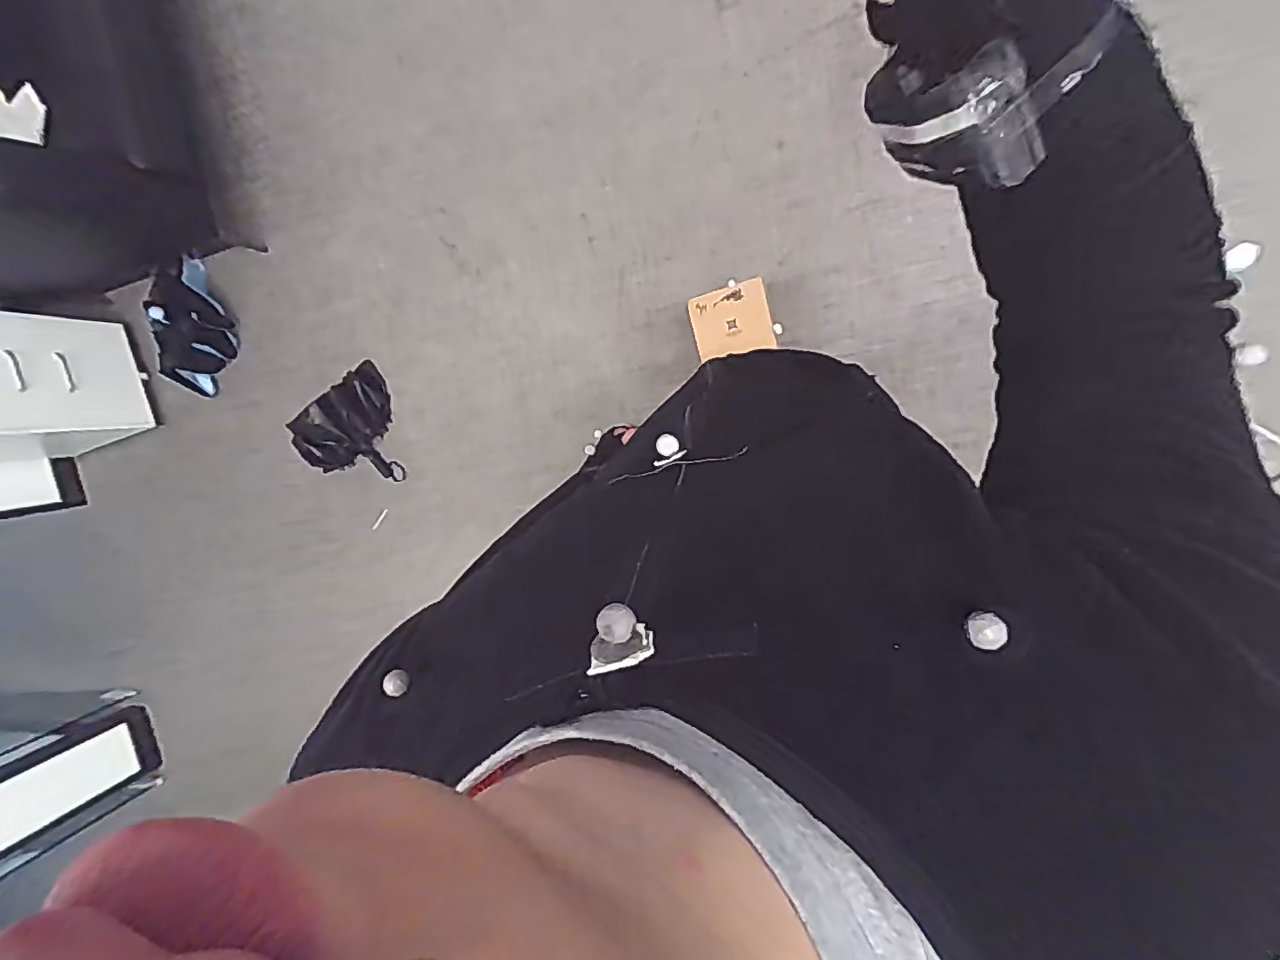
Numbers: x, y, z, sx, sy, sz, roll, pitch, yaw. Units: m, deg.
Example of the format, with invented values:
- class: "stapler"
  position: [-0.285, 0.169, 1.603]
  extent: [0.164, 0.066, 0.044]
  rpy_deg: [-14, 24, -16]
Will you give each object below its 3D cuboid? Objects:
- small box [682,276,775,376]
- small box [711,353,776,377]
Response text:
- class: "small box"
  position: [0.210, -0.345, 1.238]
  extent: [0.168, 0.176, 0.179]
  rpy_deg: [-12, 97, 18]
- class: "small box"
  position: [0.251, -0.370, 1.394]
  extent: [0.168, 0.176, 0.179]
  rpy_deg: [-14, 96, 18]
